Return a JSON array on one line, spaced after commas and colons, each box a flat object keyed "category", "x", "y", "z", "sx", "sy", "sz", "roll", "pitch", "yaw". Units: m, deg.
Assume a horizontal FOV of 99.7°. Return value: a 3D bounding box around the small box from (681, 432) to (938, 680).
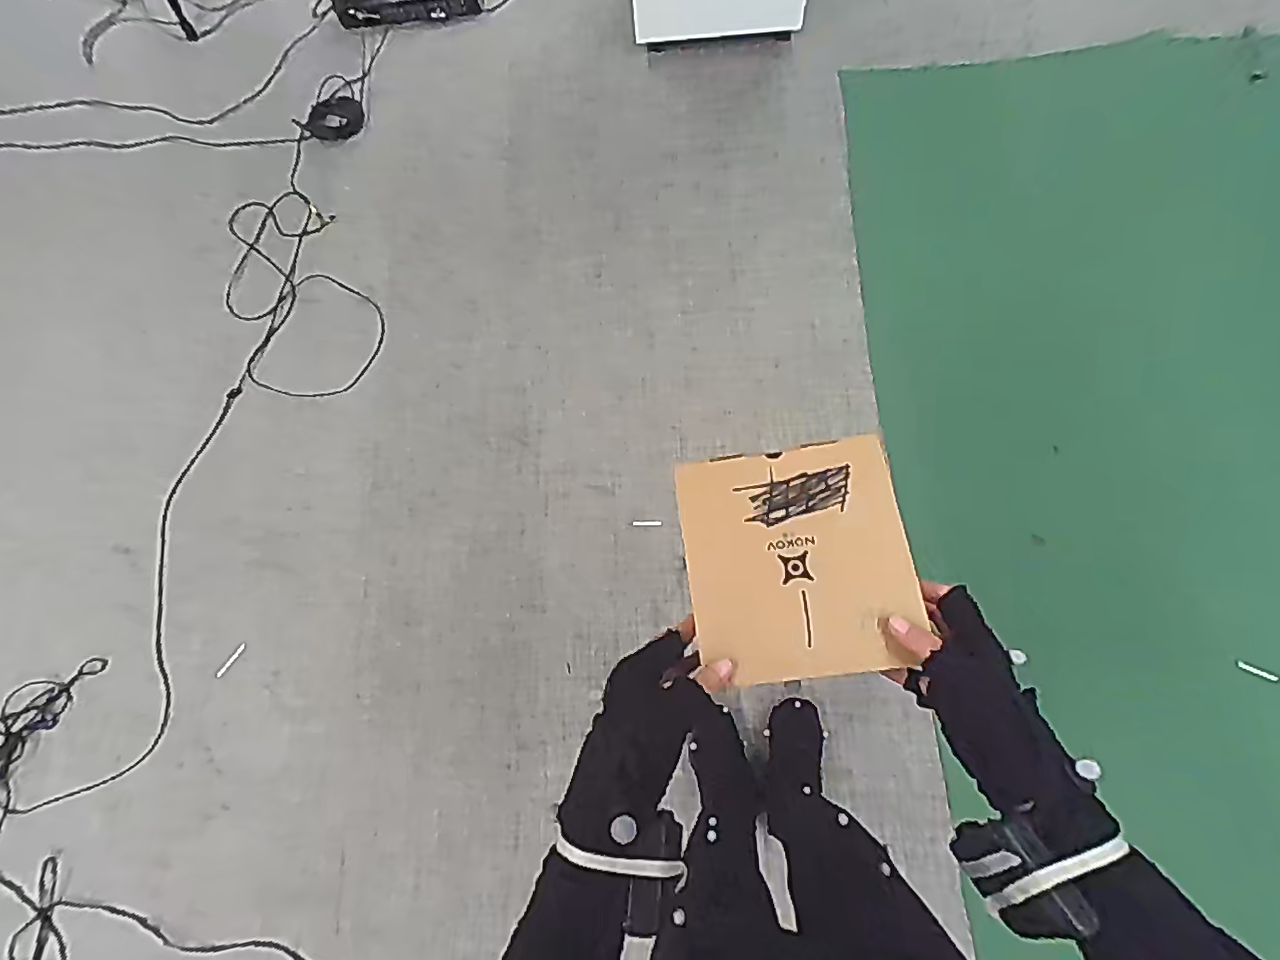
[{"category": "small box", "x": 0.131, "y": 0.077, "z": 0.487, "sx": 0.168, "sy": 0.176, "sz": 0.179, "roll": -9, "pitch": 72, "yaw": 6}]
